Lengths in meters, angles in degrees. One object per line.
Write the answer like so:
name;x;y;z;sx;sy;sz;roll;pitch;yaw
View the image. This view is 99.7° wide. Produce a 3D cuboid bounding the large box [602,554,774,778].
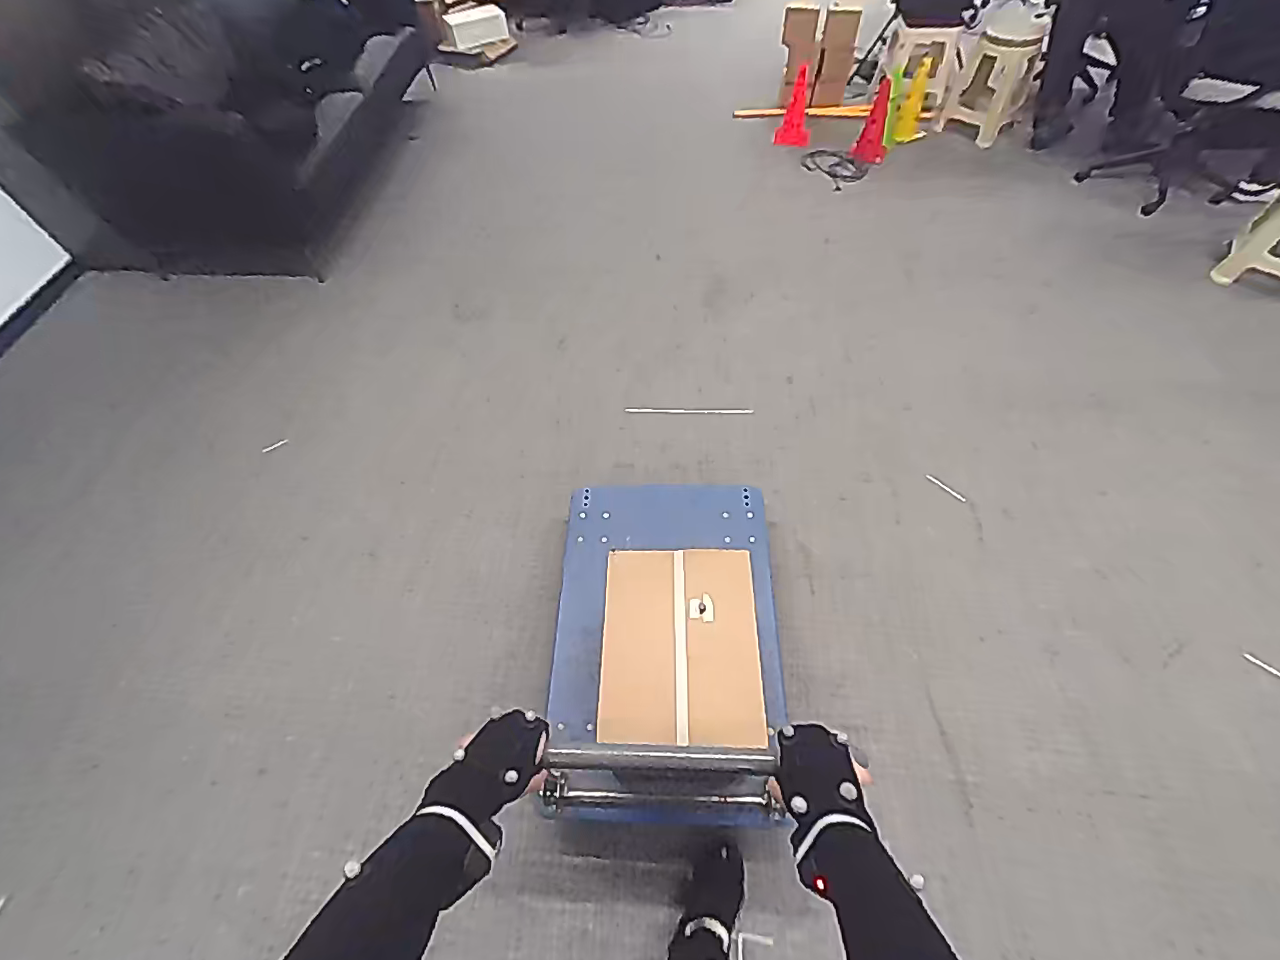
large box;0.095;0.413;1.192;0.320;0.320;0.408;0;54;3
